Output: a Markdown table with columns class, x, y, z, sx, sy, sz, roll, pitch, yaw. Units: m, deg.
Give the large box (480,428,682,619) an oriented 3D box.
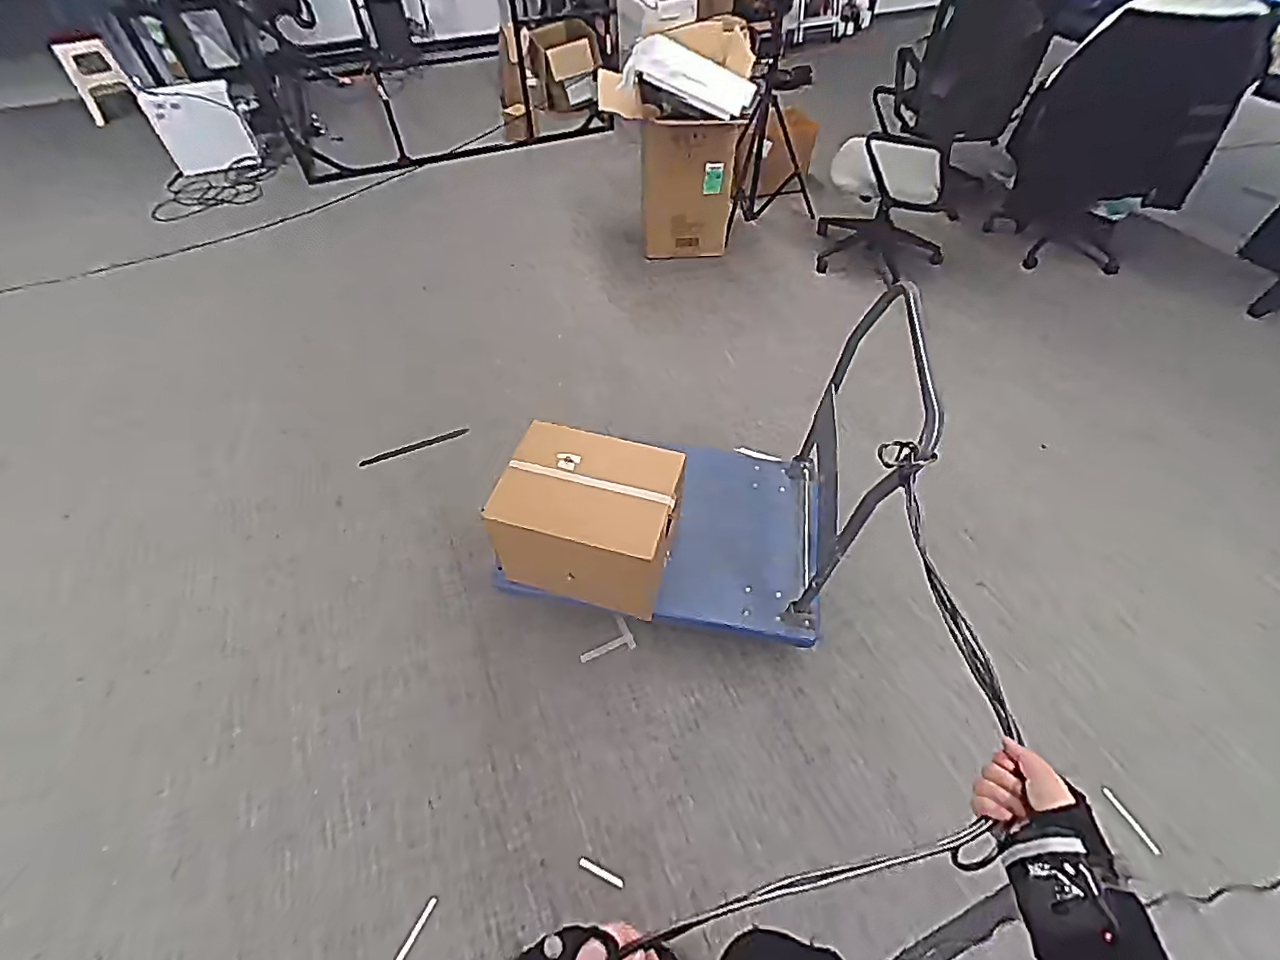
| class | x | y | z | sx | sy | sz | roll | pitch | yaw |
| --- | --- | --- | --- | --- | --- | --- | --- | --- | --- |
| large box | -0.122 | 0.113 | 1.369 | 0.408 | 0.320 | 0.320 | 12 | 52 | 11 |
